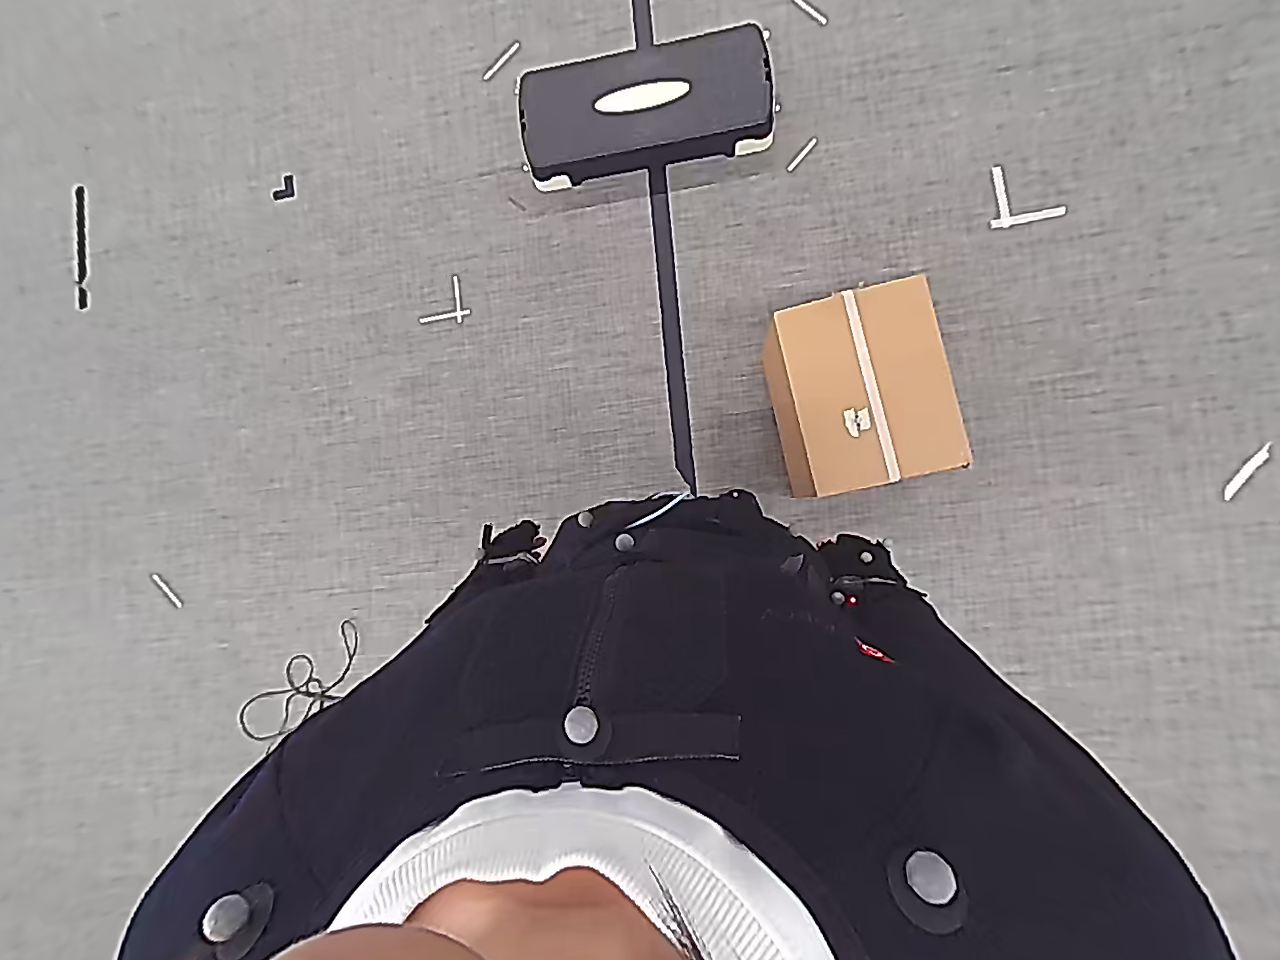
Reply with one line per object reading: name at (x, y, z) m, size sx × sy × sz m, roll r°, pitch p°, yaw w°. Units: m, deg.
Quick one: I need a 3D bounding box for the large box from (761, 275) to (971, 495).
large box at (0.493, -0.194, 1.261) m, size 0.320 × 0.320 × 0.408 m, roll -13°, pitch 87°, yaw 7°
